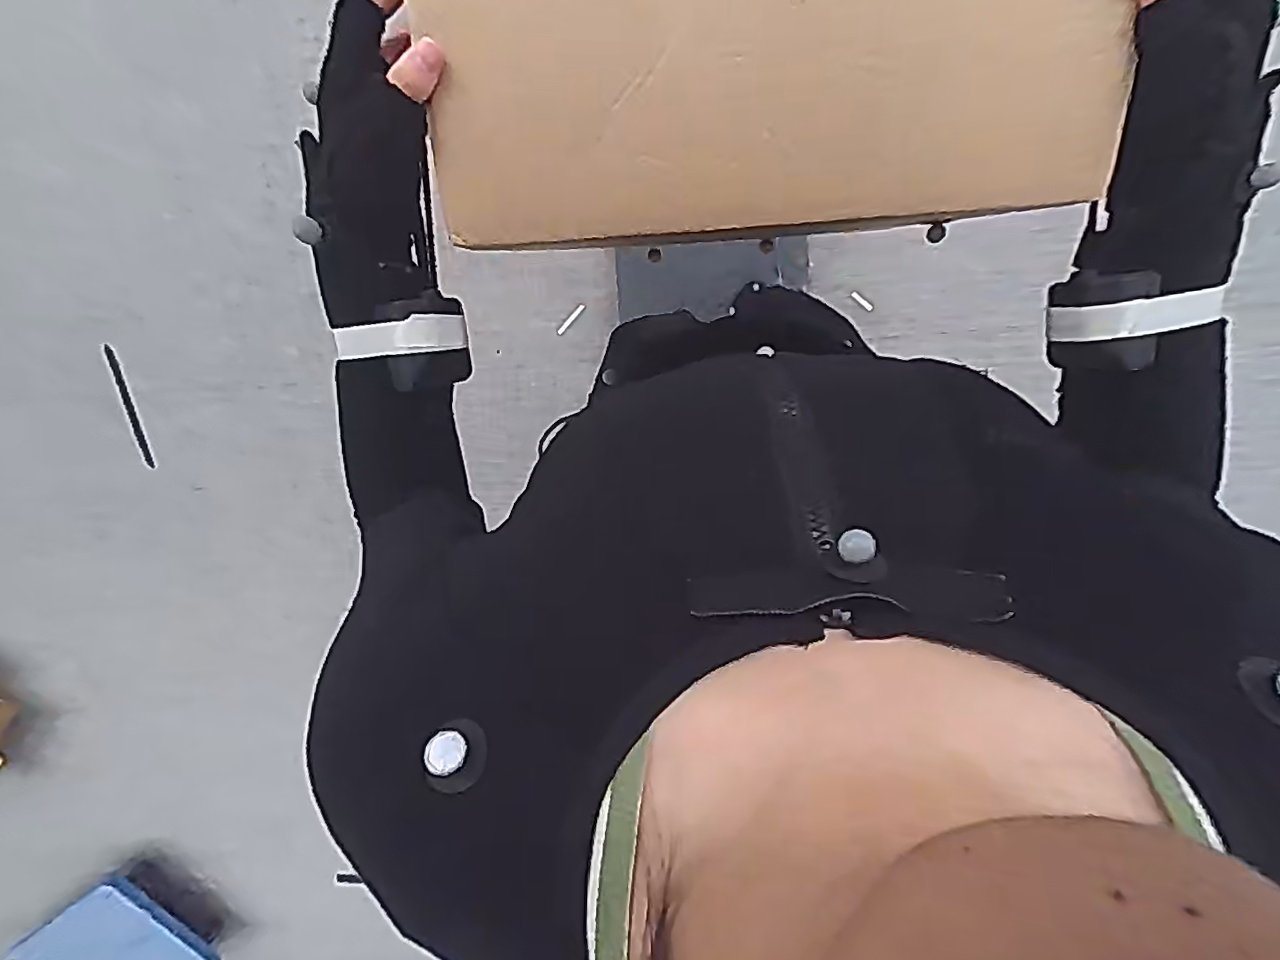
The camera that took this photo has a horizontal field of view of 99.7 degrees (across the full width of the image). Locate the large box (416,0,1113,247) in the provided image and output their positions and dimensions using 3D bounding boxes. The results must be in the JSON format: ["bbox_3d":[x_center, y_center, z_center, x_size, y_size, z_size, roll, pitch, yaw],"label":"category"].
[{"bbox_3d":[0.070,-0.367,0.428,0.408,0.320,0.320,-3,112,2],"label":"large box"}]
